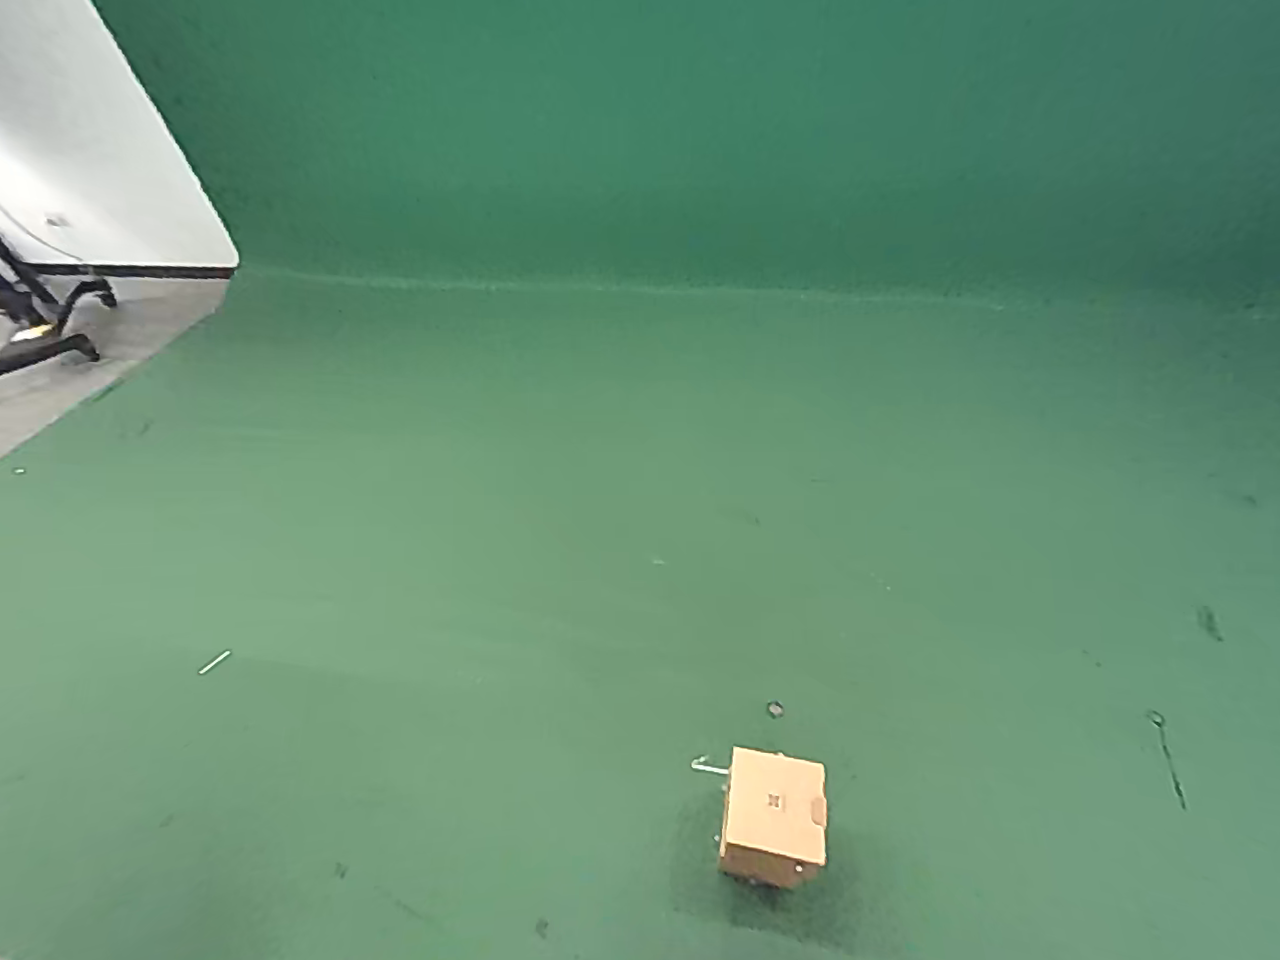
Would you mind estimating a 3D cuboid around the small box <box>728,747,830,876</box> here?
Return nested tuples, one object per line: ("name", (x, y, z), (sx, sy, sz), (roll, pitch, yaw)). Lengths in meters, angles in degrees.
("small box", (0.268, 0.651, 1.058), (0.179, 0.176, 0.168), (6, 48, 11))
